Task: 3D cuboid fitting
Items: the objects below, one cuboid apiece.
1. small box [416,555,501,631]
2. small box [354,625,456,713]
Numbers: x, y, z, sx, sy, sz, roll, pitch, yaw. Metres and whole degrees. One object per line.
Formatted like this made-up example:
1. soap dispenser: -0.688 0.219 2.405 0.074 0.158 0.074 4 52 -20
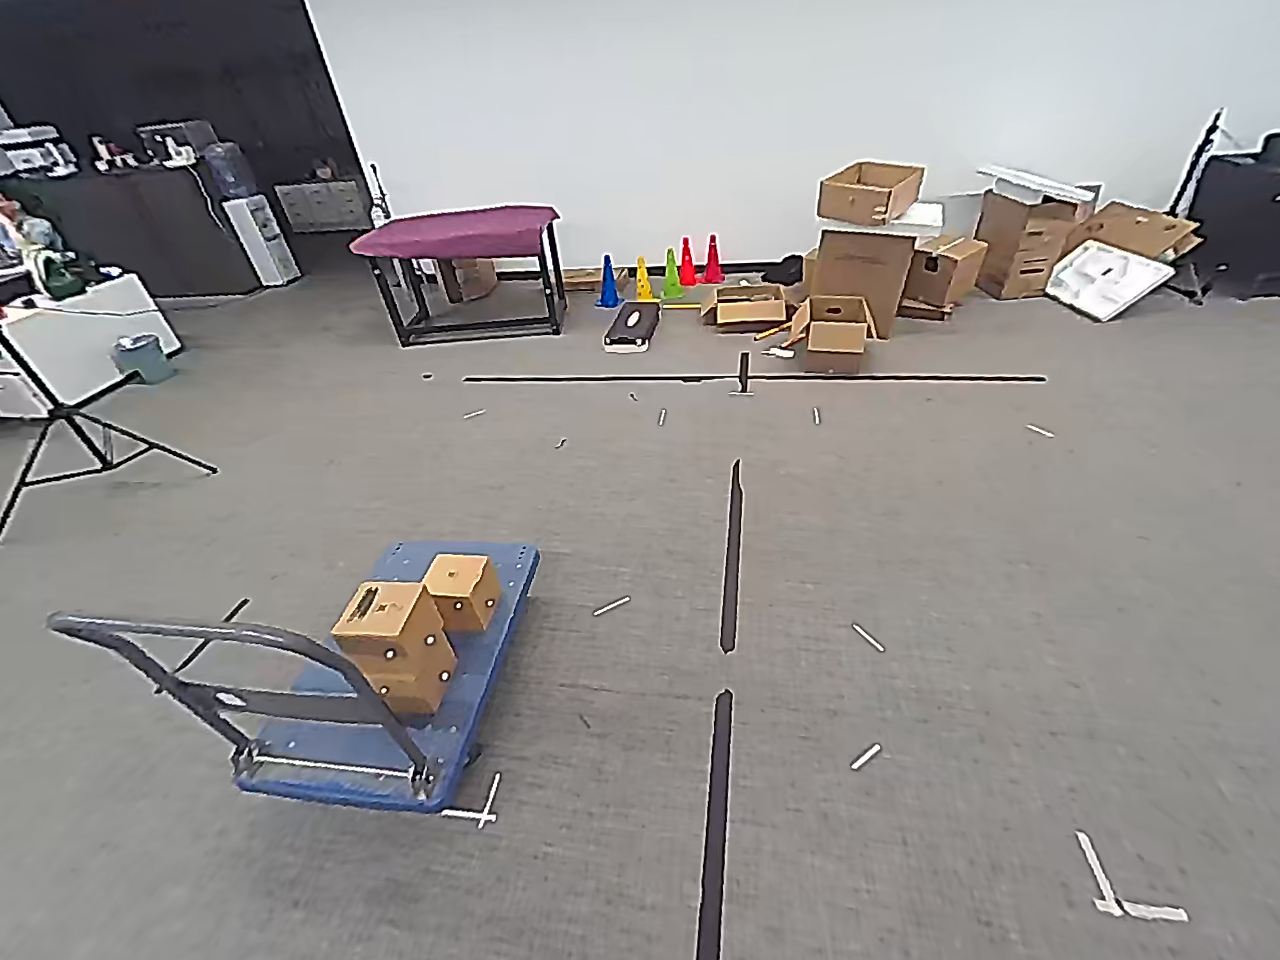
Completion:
1. small box: -0.558 0.354 1.685 0.179 0.176 0.168 1 38 9
2. small box: -0.633 0.519 1.481 0.179 0.176 0.168 0 39 8
